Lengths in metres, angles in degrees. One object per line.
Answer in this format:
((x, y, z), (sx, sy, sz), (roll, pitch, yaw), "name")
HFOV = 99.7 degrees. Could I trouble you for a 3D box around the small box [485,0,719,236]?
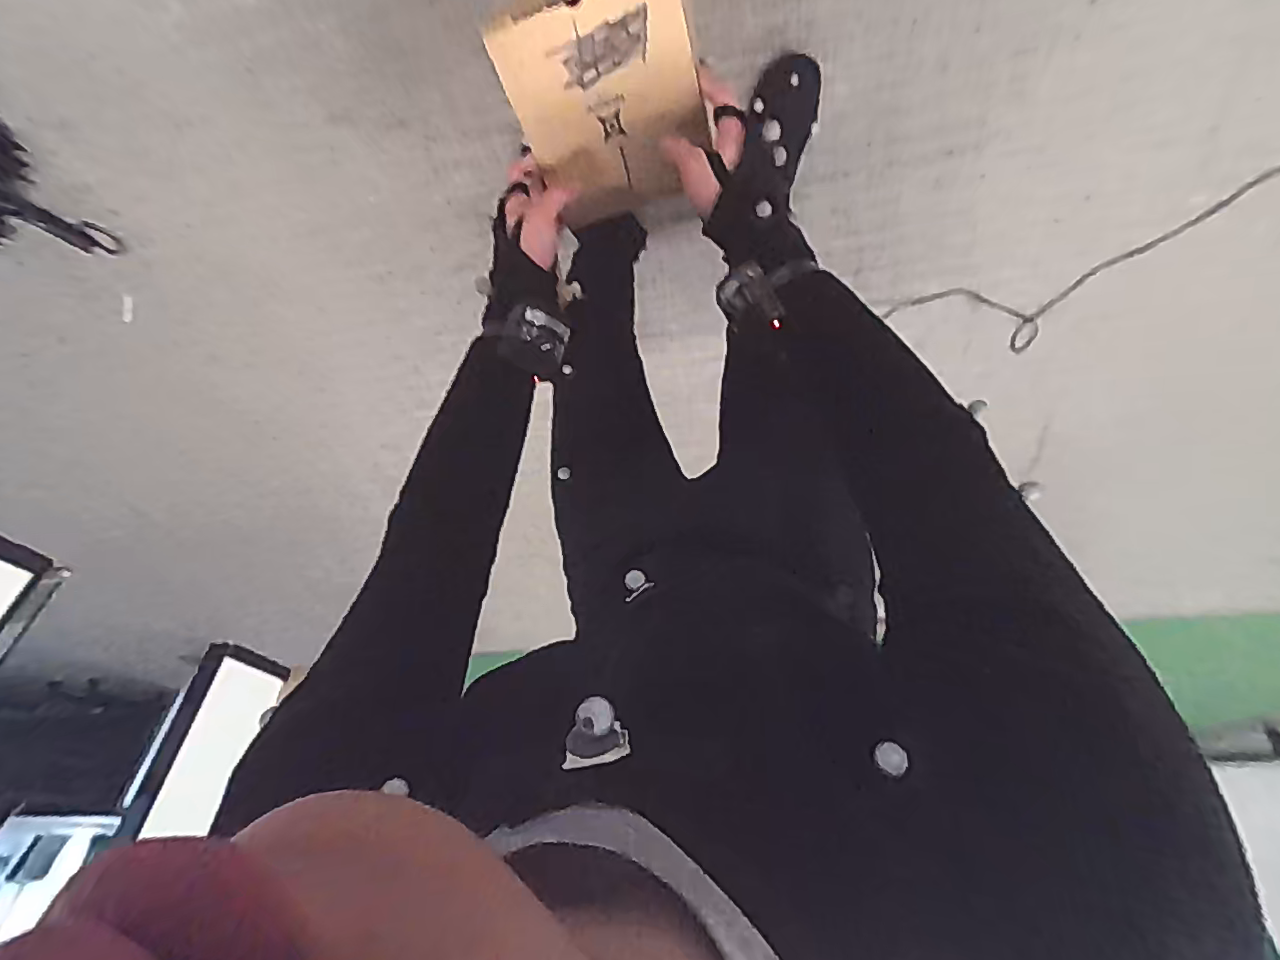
((-0.023, -0.382, 0.530), (0.168, 0.176, 0.179), (-9, 141, 17), "small box")
